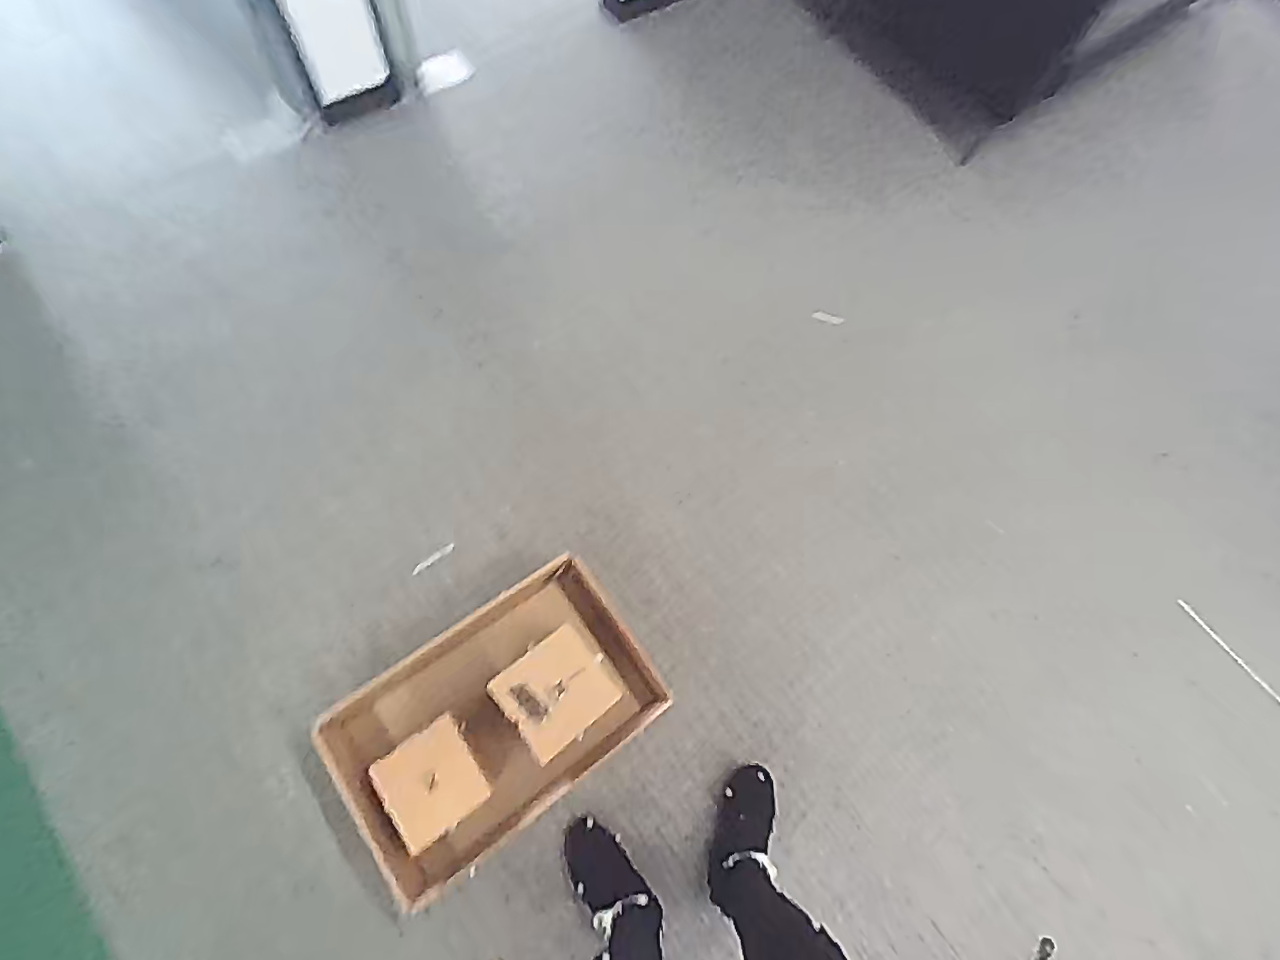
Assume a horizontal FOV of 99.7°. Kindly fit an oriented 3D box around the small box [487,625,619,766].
[{"bbox_3d":[-0.160,0.398,1.015,0.179,0.176,0.168,-35,79,-18],"label":"small box"}]
